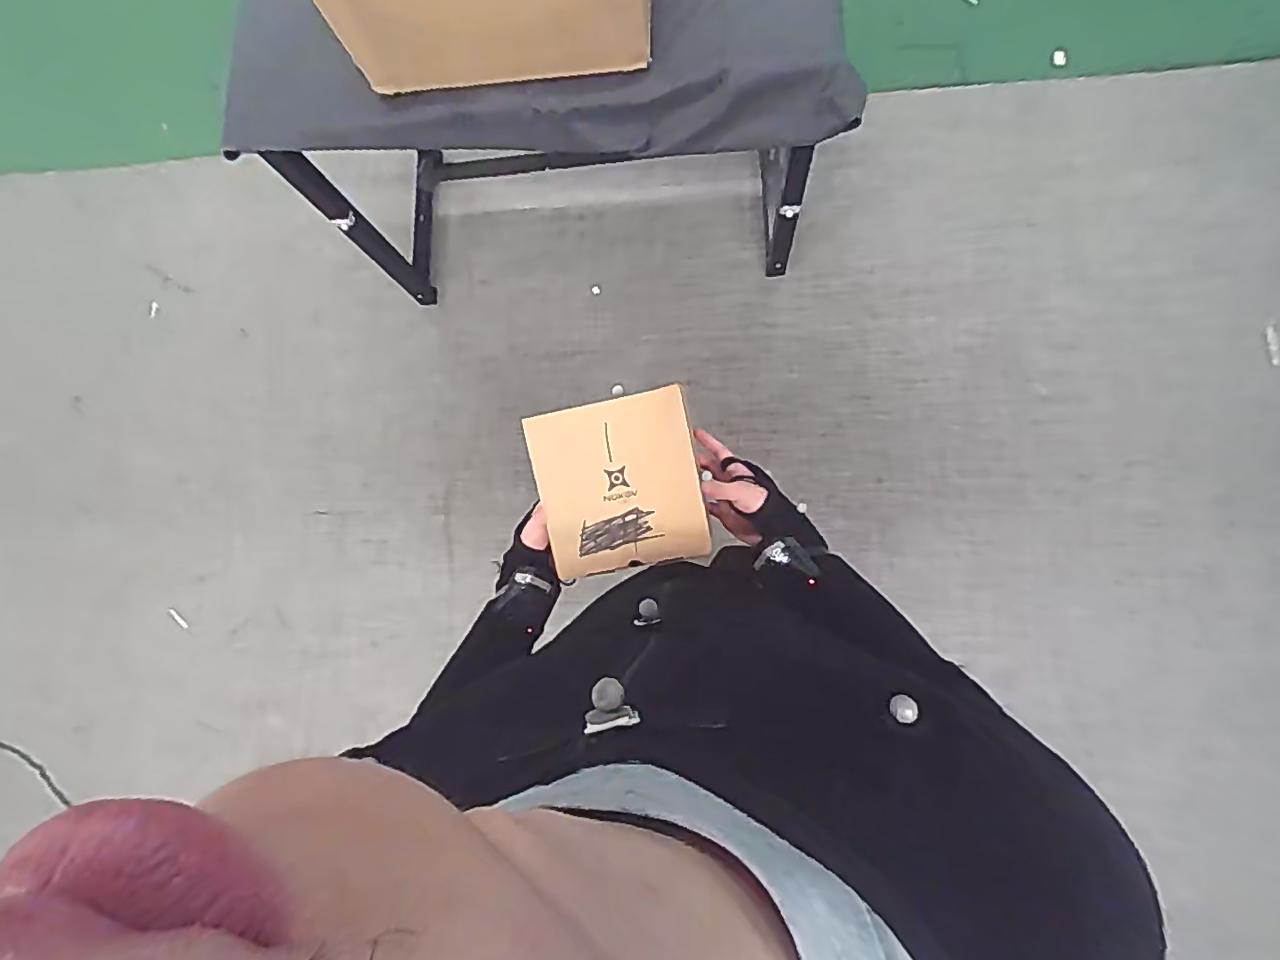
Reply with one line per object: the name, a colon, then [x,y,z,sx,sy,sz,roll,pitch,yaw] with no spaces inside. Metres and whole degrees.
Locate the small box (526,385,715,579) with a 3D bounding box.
small box: [-0.010,-0.006,0.622,0.168,0.176,0.179,-12,96,7]
